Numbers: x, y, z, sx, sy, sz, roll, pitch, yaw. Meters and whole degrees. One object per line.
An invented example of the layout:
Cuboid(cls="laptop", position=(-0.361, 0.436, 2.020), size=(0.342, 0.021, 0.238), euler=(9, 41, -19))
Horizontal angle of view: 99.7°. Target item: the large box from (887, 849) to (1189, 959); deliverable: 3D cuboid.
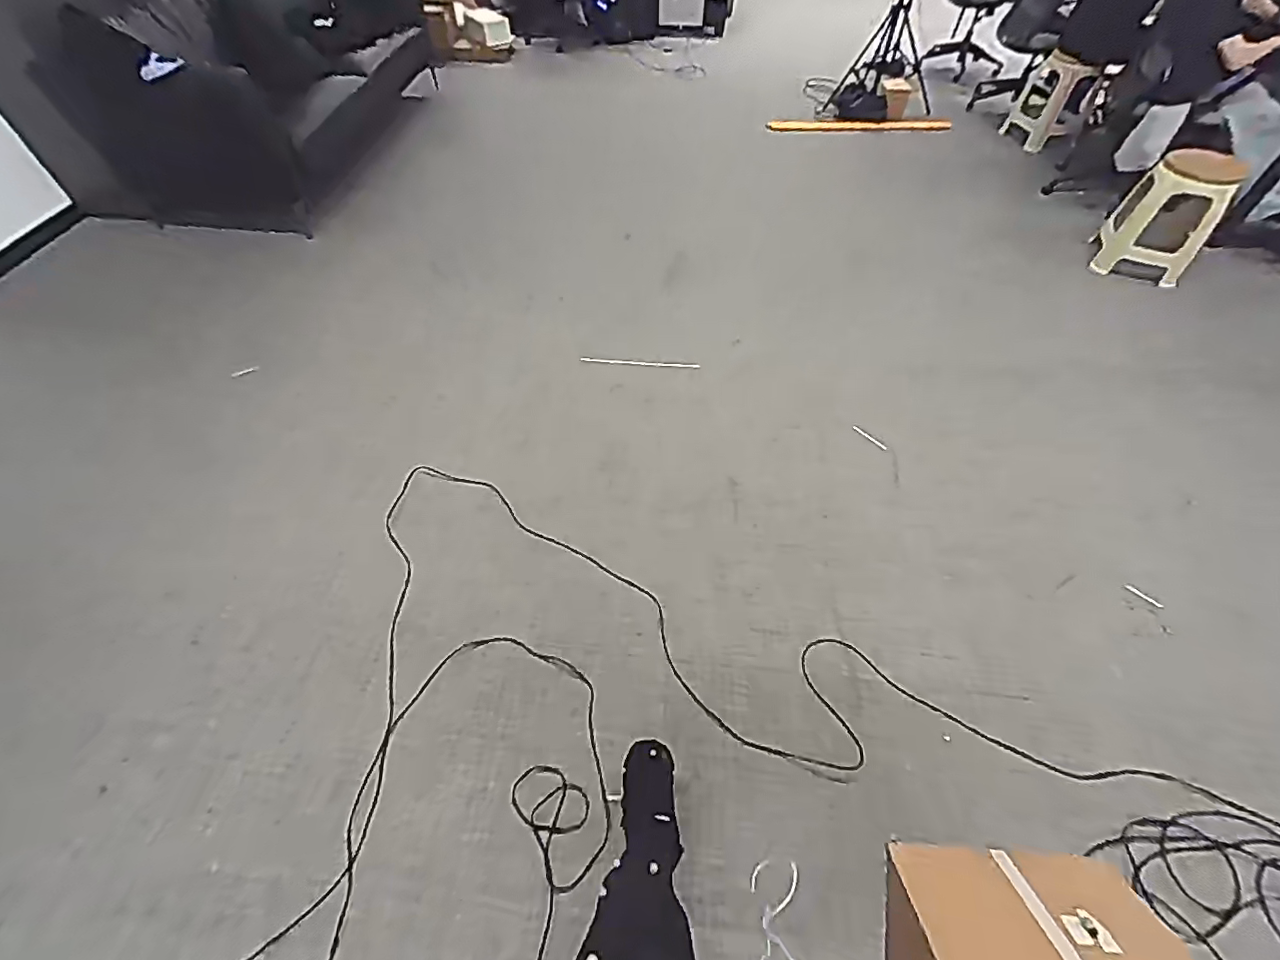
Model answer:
Cuboid(cls="large box", position=(0.519, 0.740, 0.644), size=(0.320, 0.408, 0.320), euler=(0, 94, 7))
